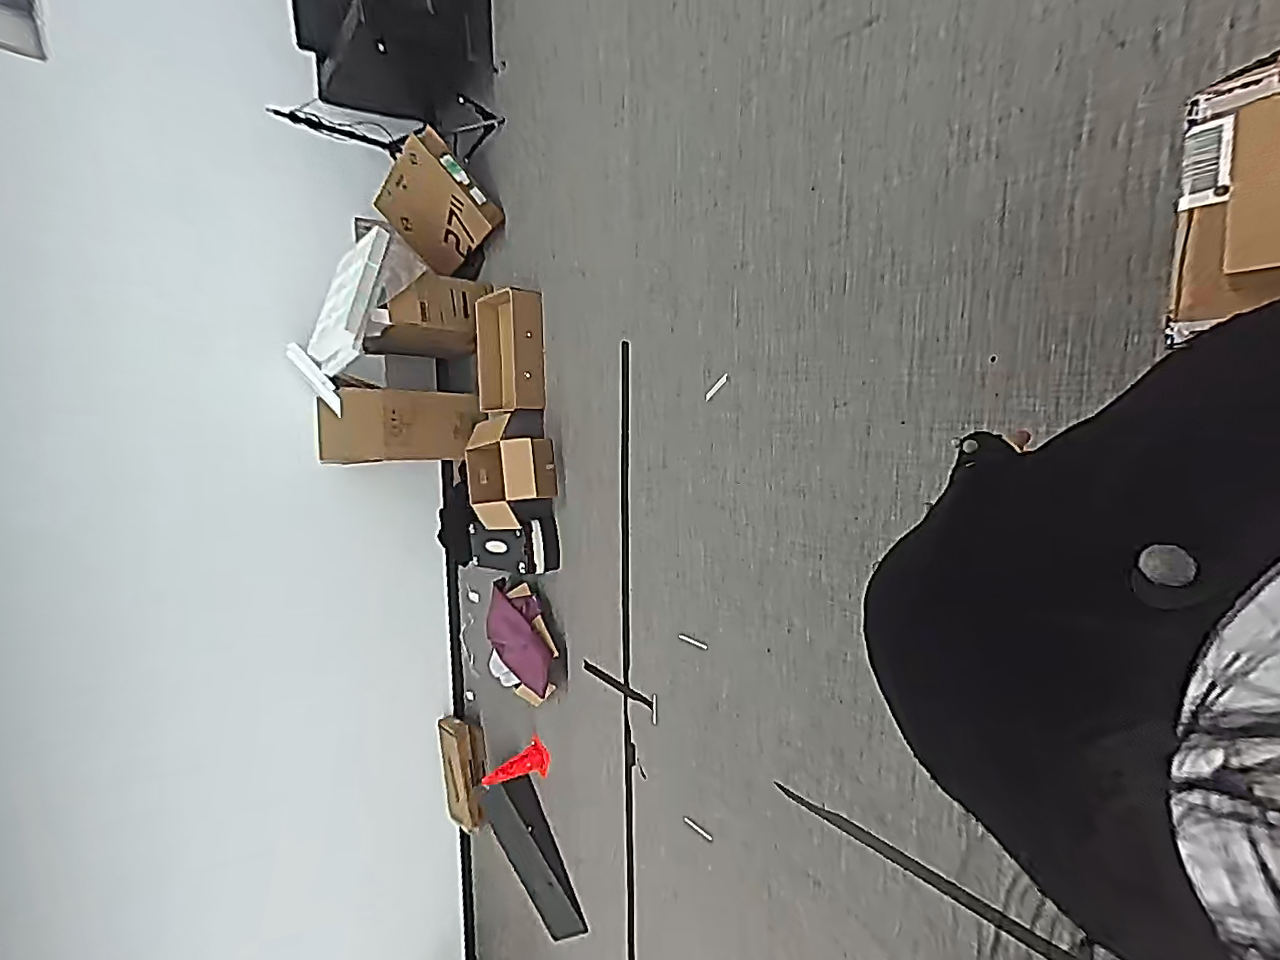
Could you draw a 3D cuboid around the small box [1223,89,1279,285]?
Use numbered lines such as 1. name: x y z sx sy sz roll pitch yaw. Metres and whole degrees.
1. small box: 0.748 -0.317 0.571 0.168 0.176 0.179 6 103 49
